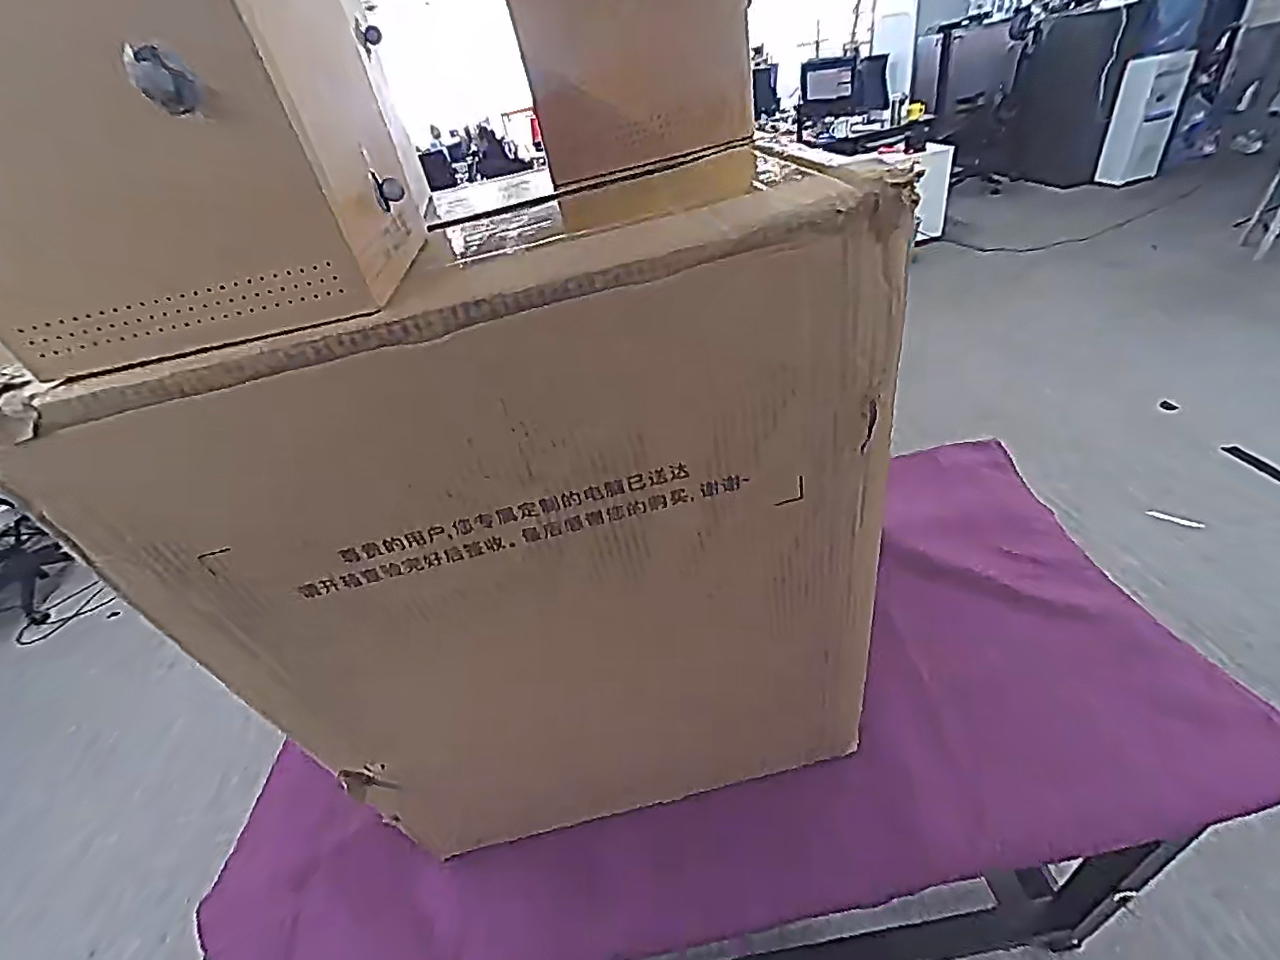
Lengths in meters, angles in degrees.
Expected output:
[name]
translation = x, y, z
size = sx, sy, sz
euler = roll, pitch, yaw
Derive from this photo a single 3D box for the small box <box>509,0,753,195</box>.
[small box]
translation = -0.003, -0.370, 0.471
size = 0.179, 0.176, 0.168
euler = -11, 37, 5
